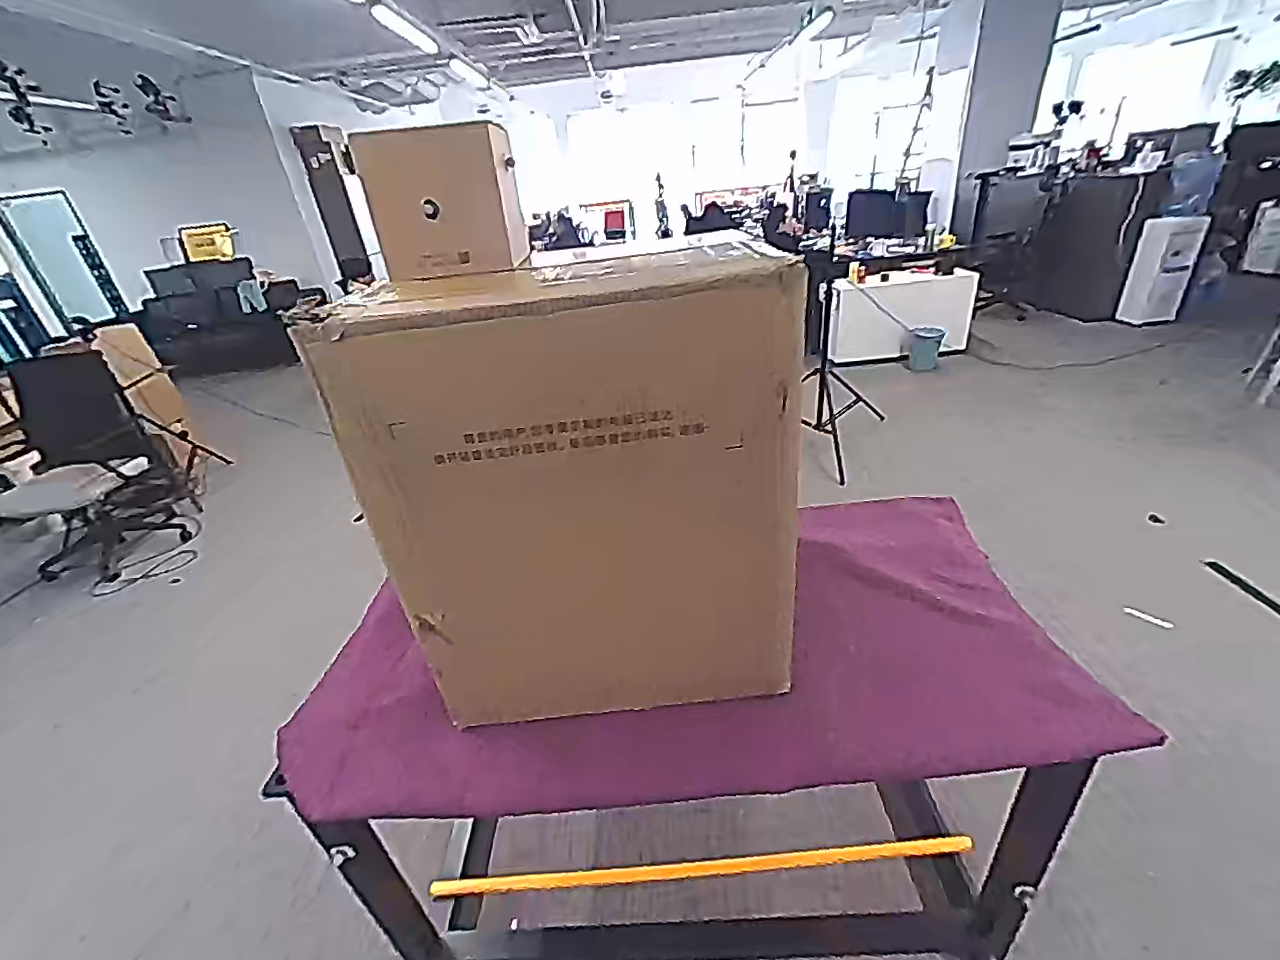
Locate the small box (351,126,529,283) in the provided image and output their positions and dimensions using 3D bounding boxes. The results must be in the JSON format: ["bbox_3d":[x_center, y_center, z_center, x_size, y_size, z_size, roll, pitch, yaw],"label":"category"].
[{"bbox_3d":[-0.254,-0.370,0.739,0.168,0.176,0.179,-5,29,-1],"label":"small box"}]
